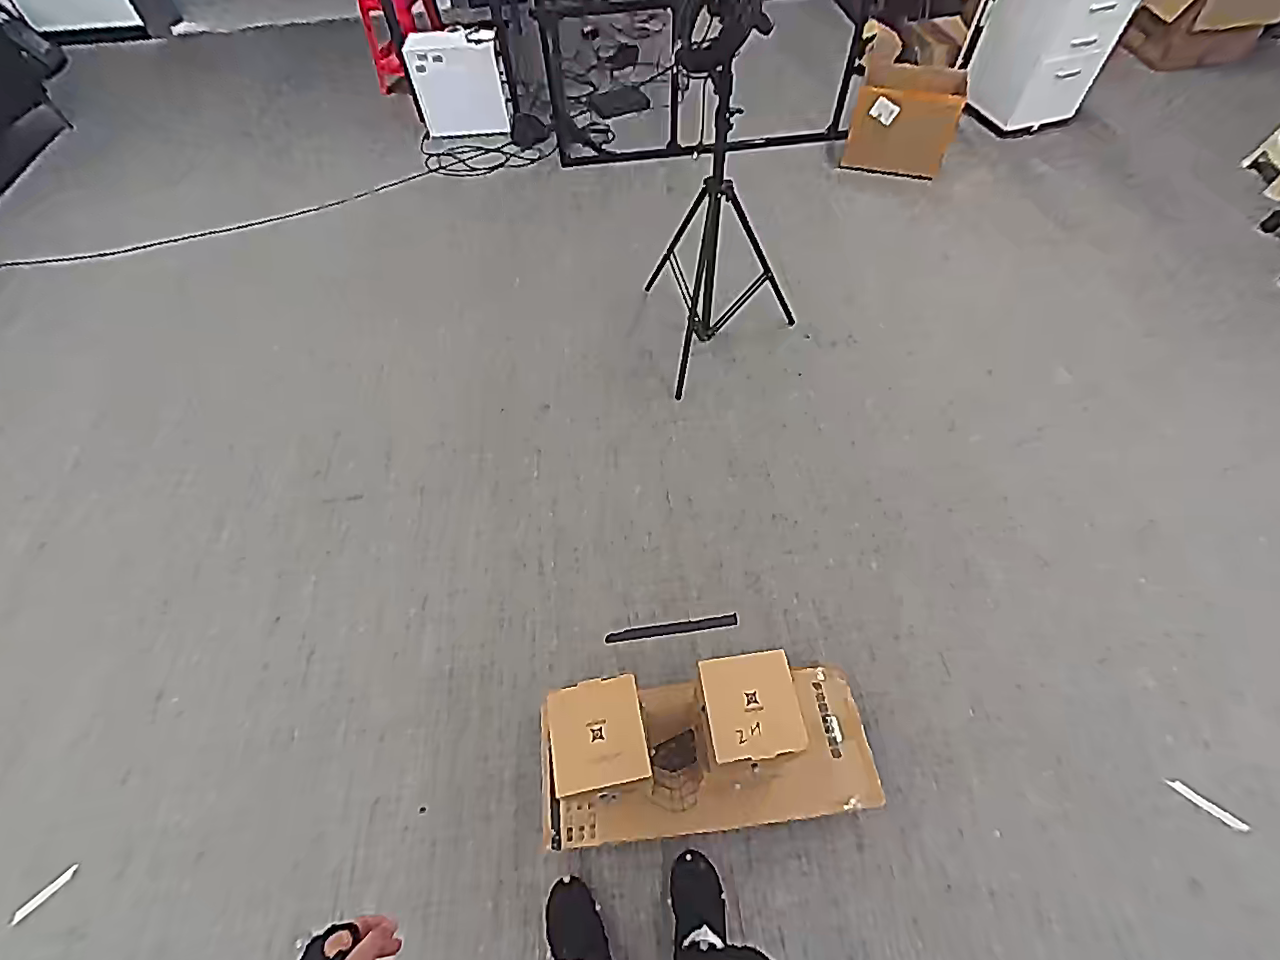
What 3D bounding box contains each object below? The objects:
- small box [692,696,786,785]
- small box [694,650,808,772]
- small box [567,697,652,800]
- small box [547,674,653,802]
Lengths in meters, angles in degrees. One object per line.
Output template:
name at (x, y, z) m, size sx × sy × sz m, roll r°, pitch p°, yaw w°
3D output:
small box at (0.203, 0.548, 1.164) m, size 0.168 × 0.176 × 0.179 m, roll -4°, pitch 57°, yaw 1°
small box at (0.200, 0.444, 1.033) m, size 0.168 × 0.176 × 0.179 m, roll -7°, pitch 57°, yaw -2°
small box at (-0.064, 0.577, 1.155) m, size 0.168 × 0.176 × 0.179 m, roll -5°, pitch 57°, yaw -1°
small box at (-0.073, 0.488, 1.018) m, size 0.168 × 0.176 × 0.179 m, roll -12°, pitch 58°, yaw -4°
